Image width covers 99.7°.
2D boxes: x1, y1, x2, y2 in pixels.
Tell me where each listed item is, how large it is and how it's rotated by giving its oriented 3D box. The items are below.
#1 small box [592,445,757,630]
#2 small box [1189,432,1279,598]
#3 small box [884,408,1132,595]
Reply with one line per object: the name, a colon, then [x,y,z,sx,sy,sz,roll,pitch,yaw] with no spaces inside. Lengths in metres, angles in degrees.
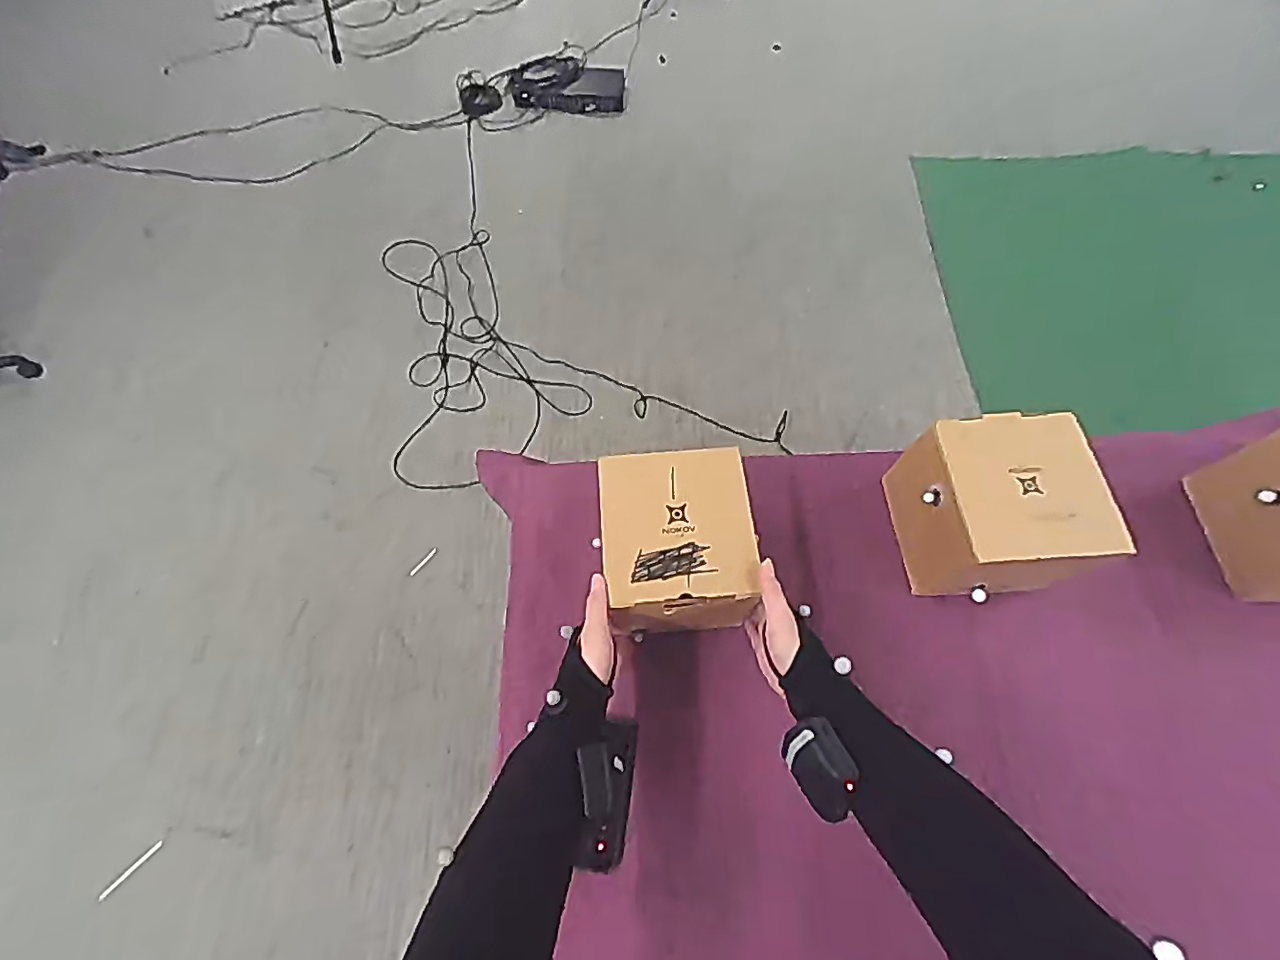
small box: [0.034,0.078,0.648,0.168,0.176,0.179,-4,63,-1]
small box: [0.833,0.036,0.645,0.168,0.176,0.179,0,64,3]
small box: [0.422,0.032,0.661,0.168,0.176,0.179,-3,65,1]
